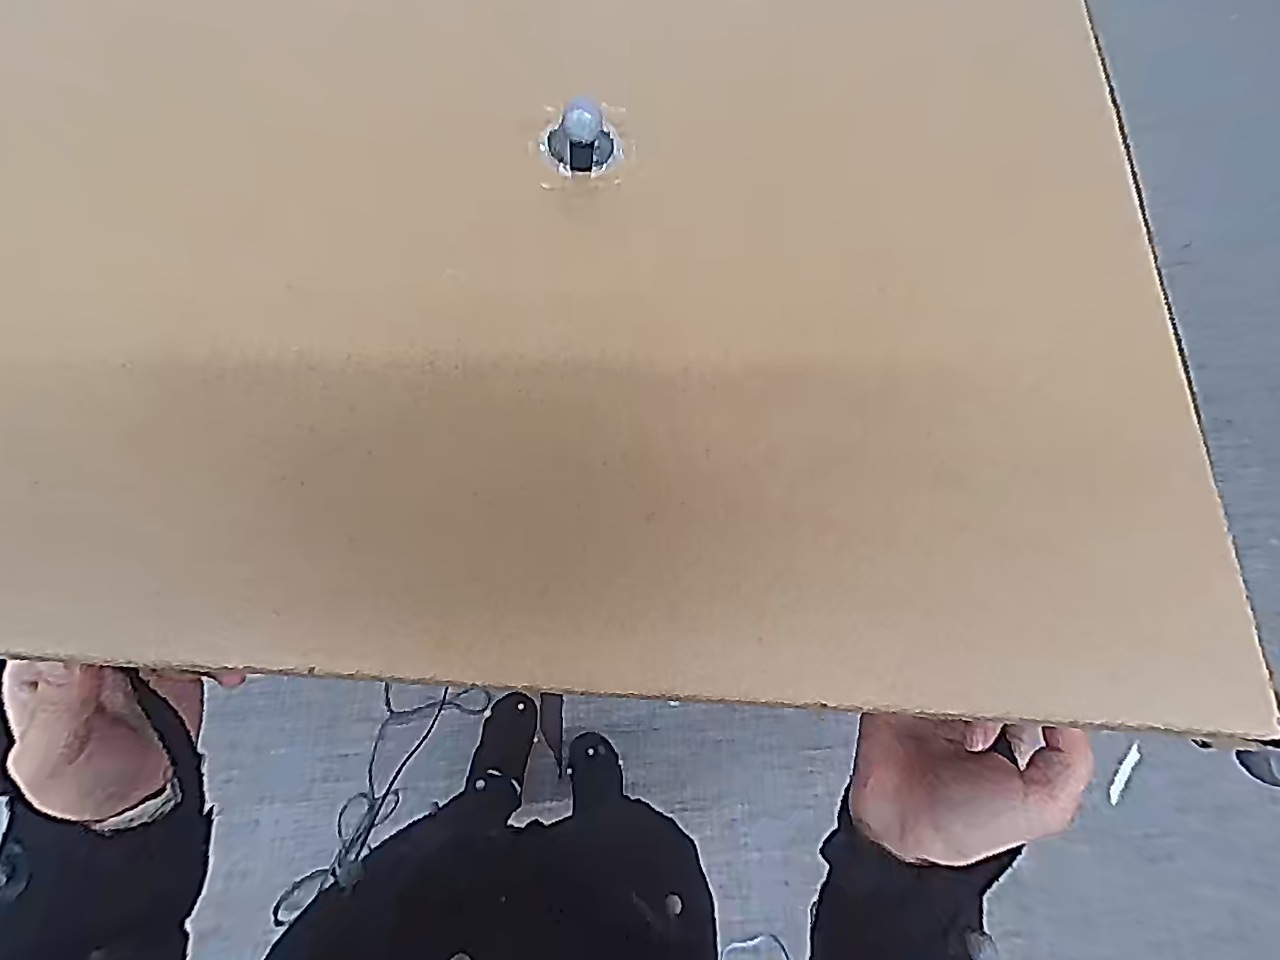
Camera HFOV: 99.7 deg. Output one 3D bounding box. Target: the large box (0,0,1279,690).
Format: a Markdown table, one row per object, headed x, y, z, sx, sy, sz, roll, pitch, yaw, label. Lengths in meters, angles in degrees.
| x | y | z | sx | sy | sz | roll | pitch | yaw | label |
| --- | --- | --- | --- | --- | --- | --- | --- | --- | --- |
| -0.032 | -0.063 | 0.318 | 0.408 | 0.320 | 0.320 | 4 | 74 | -3 | large box |
